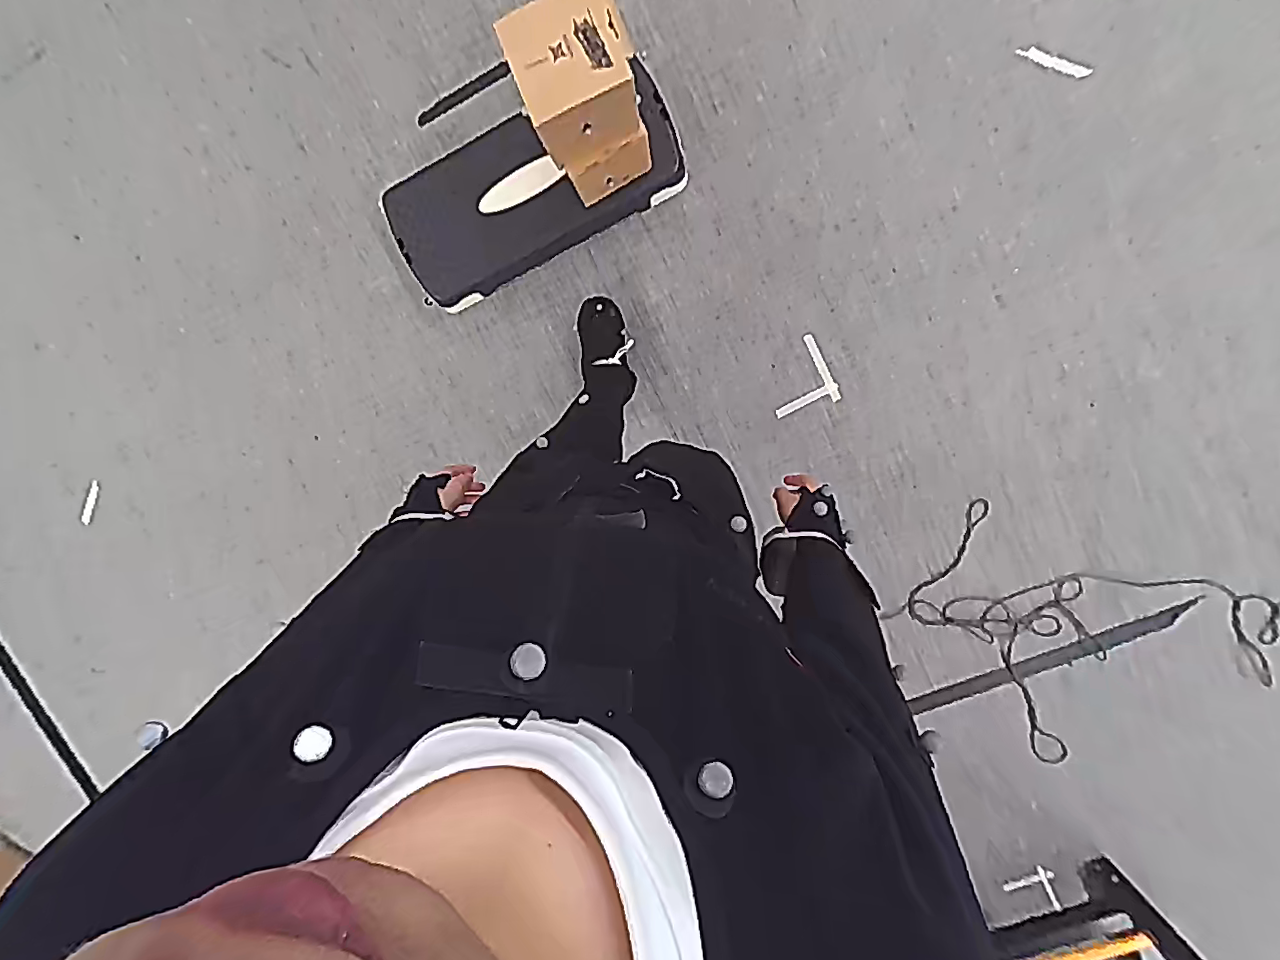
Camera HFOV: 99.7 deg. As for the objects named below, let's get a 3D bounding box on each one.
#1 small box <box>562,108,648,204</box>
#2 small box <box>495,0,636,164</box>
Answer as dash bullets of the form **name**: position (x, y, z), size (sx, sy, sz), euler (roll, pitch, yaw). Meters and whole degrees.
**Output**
- **small box**: position (-0.093, -0.695, 1.081), size (0.168, 0.176, 0.179), euler (-27, 98, 7)
- **small box**: position (-0.113, -0.679, 0.918), size (0.179, 0.176, 0.168), euler (-21, 98, 8)
